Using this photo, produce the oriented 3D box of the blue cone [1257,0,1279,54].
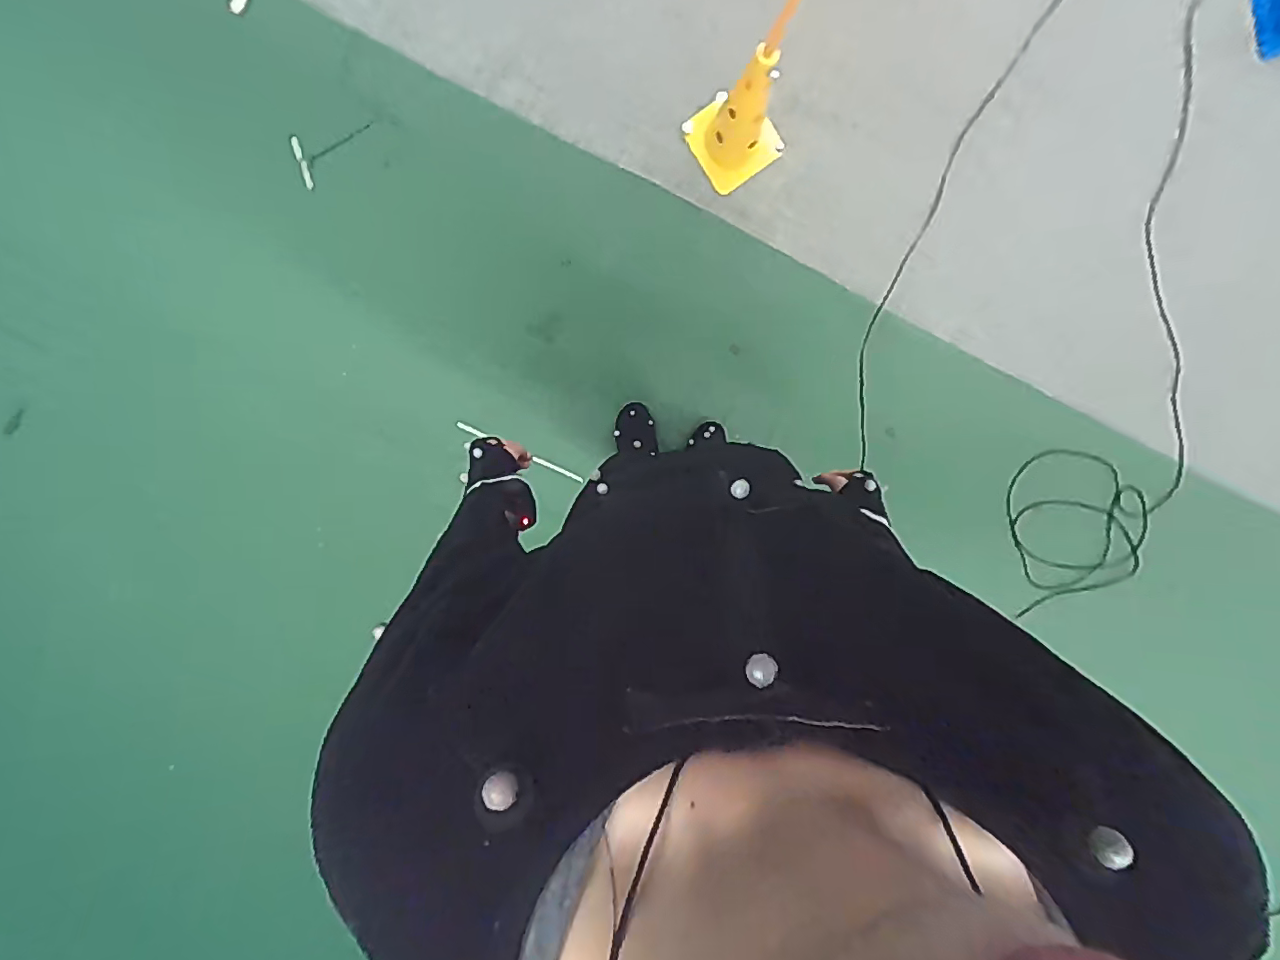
[{"bbox_3d":[1.637,-1.161,1.179,0.193,0.380,0.192,-20,98,-1],"label":"blue cone"}]
